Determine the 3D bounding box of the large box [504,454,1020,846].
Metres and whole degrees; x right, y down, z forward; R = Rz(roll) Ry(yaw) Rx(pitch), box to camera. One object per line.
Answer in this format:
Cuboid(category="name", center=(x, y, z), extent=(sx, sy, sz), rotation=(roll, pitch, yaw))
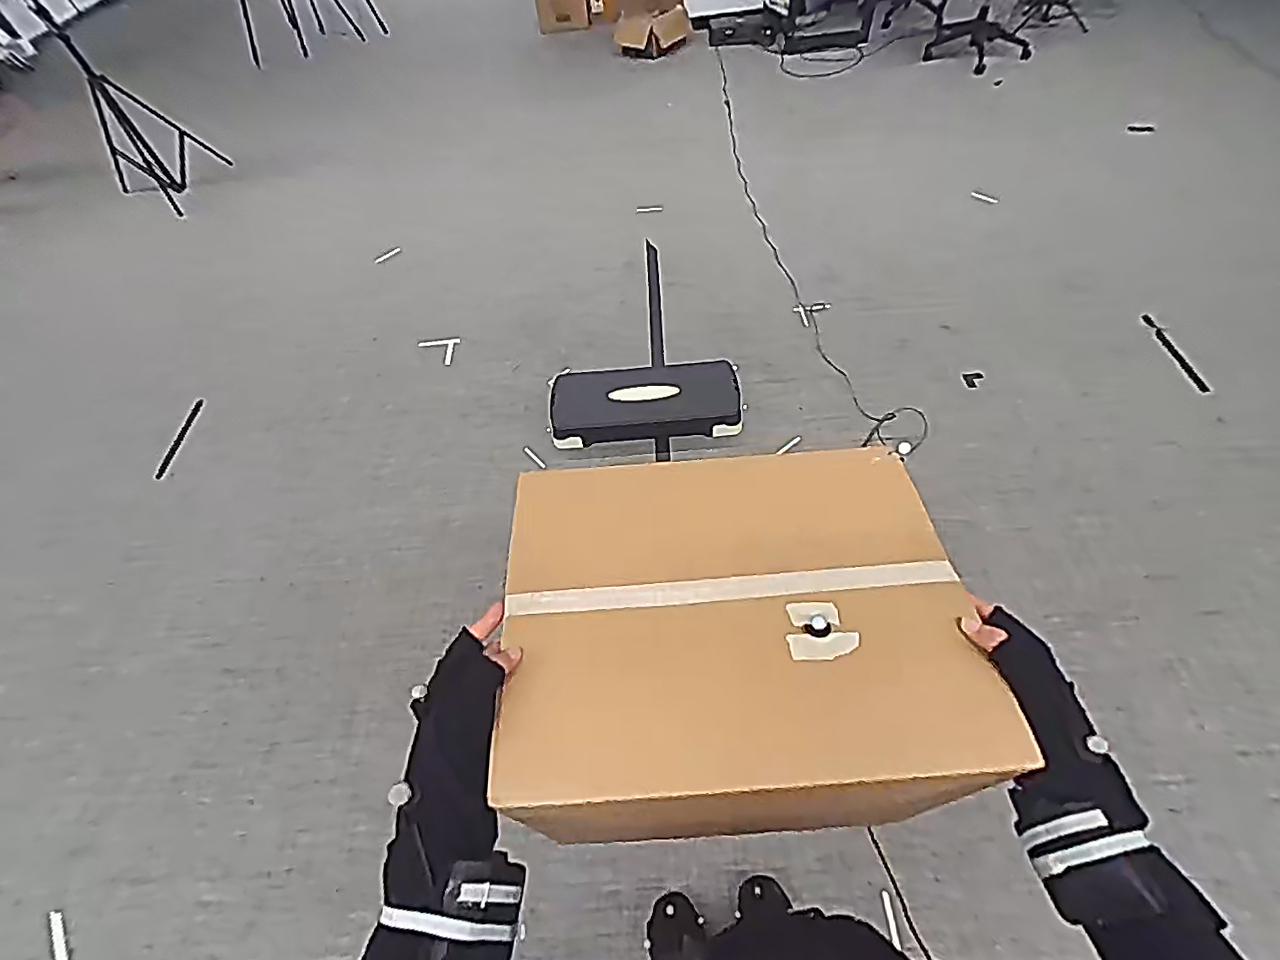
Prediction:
Cuboid(category="large box", center=(0.088, 0.199, 0.614), extent=(0.408, 0.320, 0.320), rotation=(-4, 51, 0))
